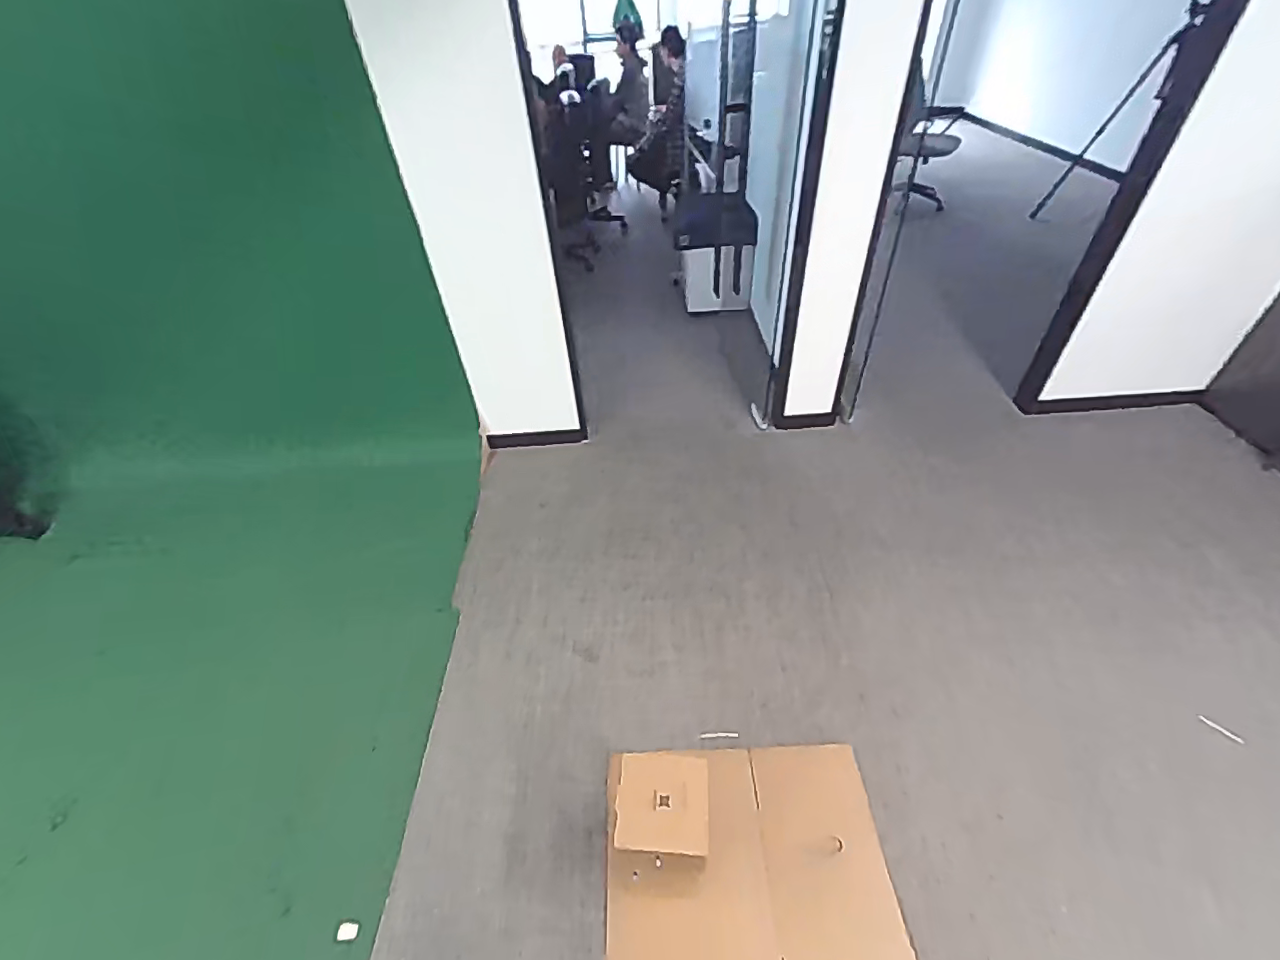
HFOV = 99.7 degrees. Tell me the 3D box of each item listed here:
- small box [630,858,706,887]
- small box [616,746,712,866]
[{"bbox_3d":[0.074,0.882,1.328,0.179,0.176,0.168,0,44,5],"label":"small box"},{"bbox_3d":[0.055,0.658,1.089,0.179,0.176,0.168,1,45,7],"label":"small box"}]
